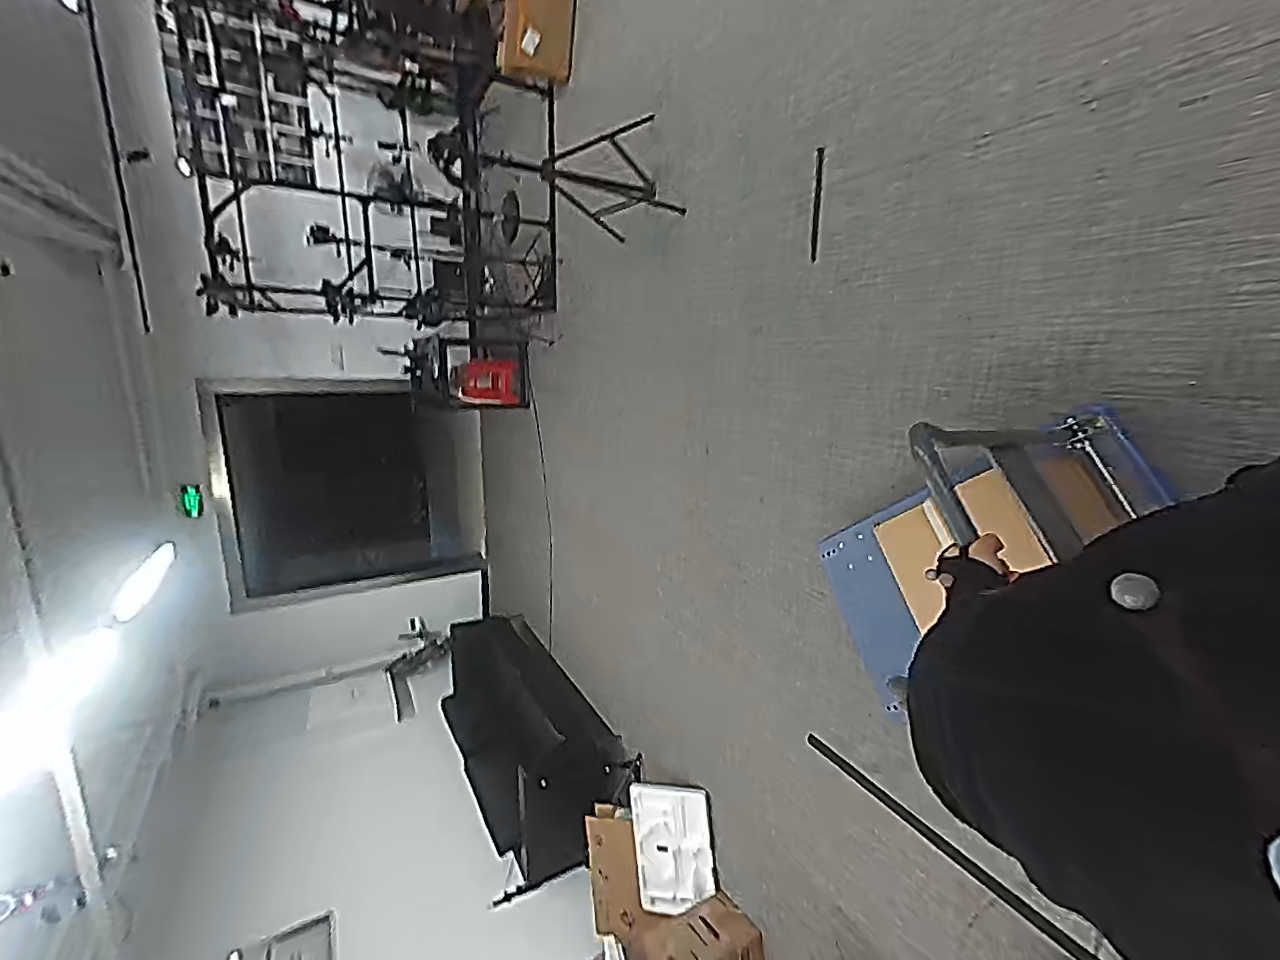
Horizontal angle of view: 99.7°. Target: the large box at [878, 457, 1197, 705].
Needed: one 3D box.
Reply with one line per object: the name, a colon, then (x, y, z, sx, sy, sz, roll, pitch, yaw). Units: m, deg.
large box: (0.792, 0.203, 1.119, 0.320, 0.320, 0.408, -47, 54, 53)
